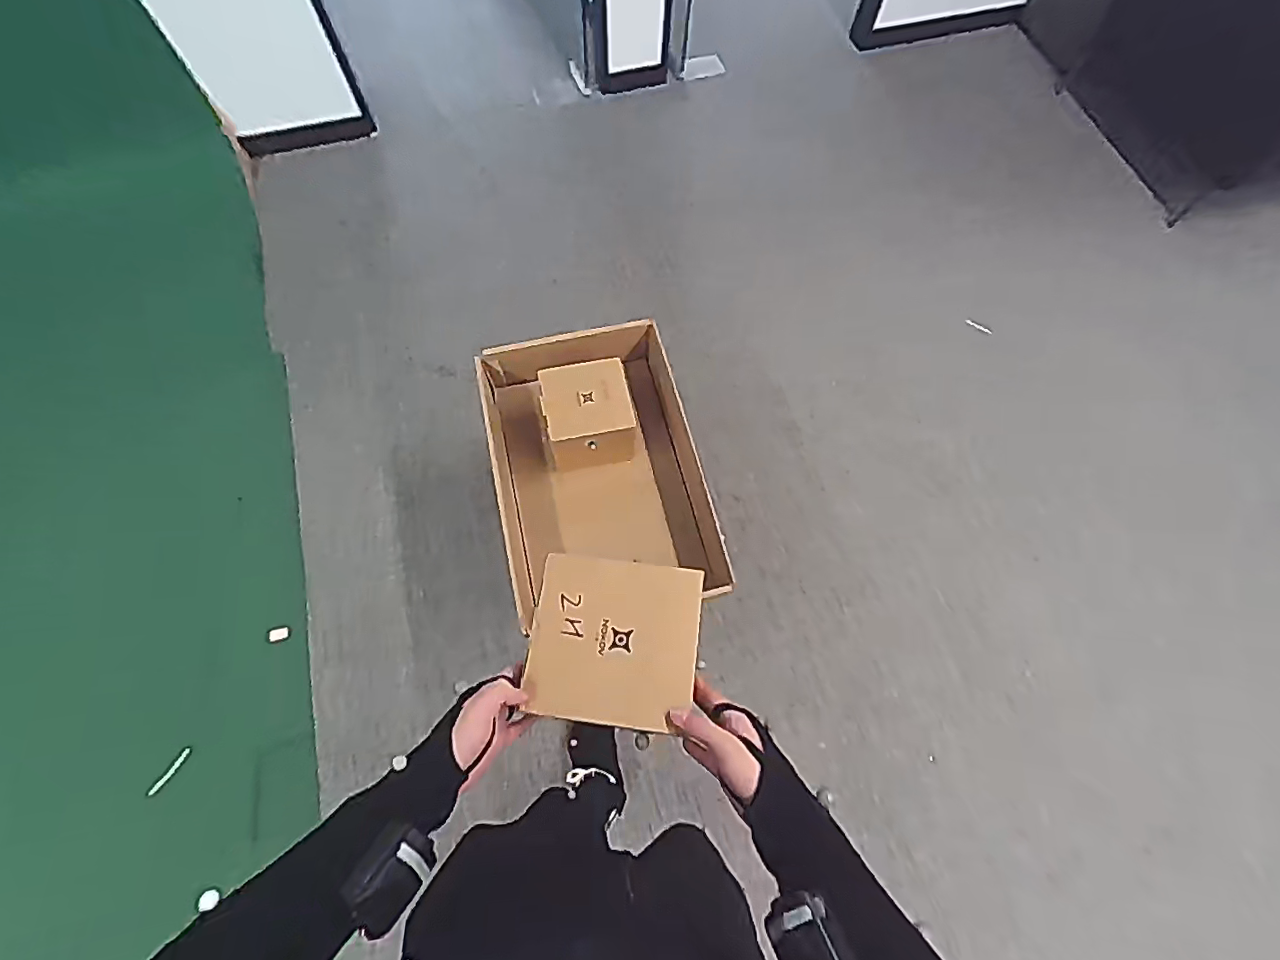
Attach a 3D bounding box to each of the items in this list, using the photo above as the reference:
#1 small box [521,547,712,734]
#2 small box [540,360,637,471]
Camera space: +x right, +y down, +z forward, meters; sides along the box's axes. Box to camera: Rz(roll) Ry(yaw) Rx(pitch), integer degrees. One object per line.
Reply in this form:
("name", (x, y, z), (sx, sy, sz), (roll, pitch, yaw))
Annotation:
("small box", (-0.019, 0.191, 0.631), (0.179, 0.176, 0.168), (7, 65, 4))
("small box", (-0.108, -0.131, 1.154), (0.179, 0.176, 0.168), (-9, 70, -8))
